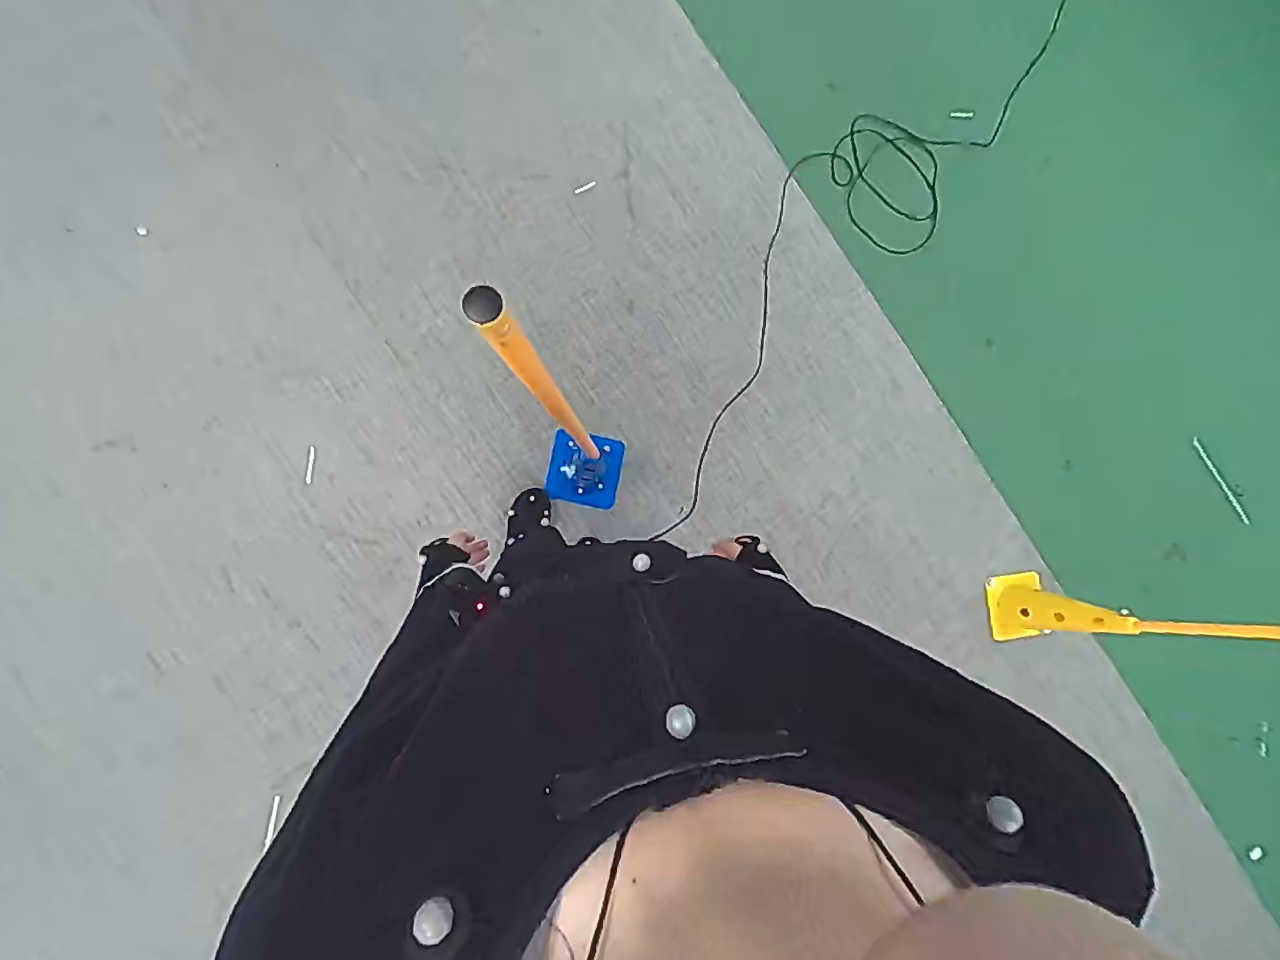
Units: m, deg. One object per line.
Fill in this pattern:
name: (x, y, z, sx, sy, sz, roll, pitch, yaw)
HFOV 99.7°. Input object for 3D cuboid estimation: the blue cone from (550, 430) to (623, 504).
blue cone: (-0.124, -0.047, 1.328, 0.193, 0.380, 0.192, 10, 84, -7)
